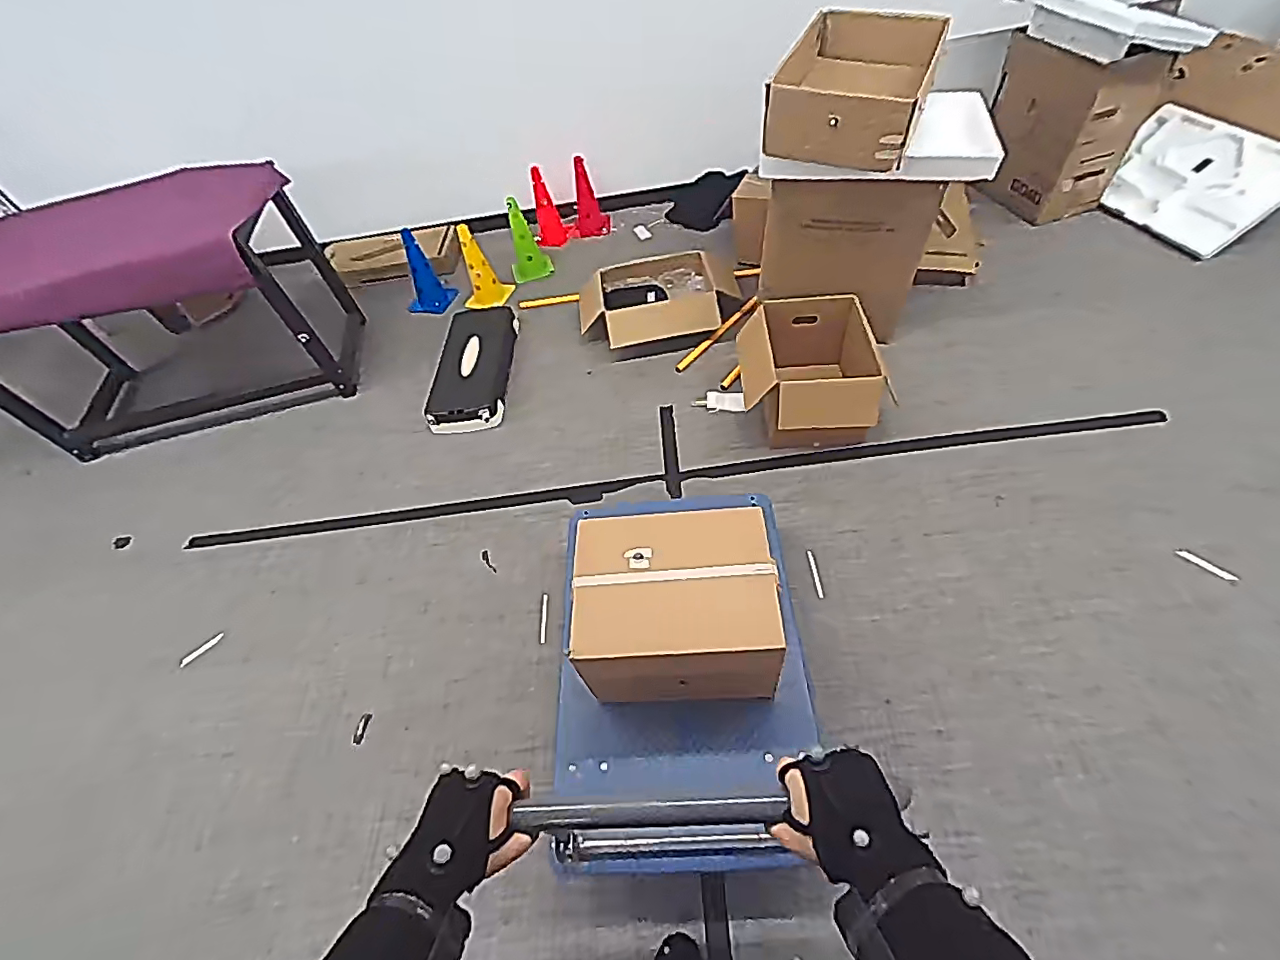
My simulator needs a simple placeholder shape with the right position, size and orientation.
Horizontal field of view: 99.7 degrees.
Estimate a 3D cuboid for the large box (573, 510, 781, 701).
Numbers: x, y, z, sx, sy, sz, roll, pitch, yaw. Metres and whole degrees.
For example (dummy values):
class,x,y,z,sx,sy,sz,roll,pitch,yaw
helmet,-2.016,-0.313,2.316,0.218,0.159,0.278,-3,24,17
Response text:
class,x,y,z,sx,sy,sz,roll,pitch,yaw
large box,0.085,0.295,1.228,0.408,0.320,0.320,-6,52,6
